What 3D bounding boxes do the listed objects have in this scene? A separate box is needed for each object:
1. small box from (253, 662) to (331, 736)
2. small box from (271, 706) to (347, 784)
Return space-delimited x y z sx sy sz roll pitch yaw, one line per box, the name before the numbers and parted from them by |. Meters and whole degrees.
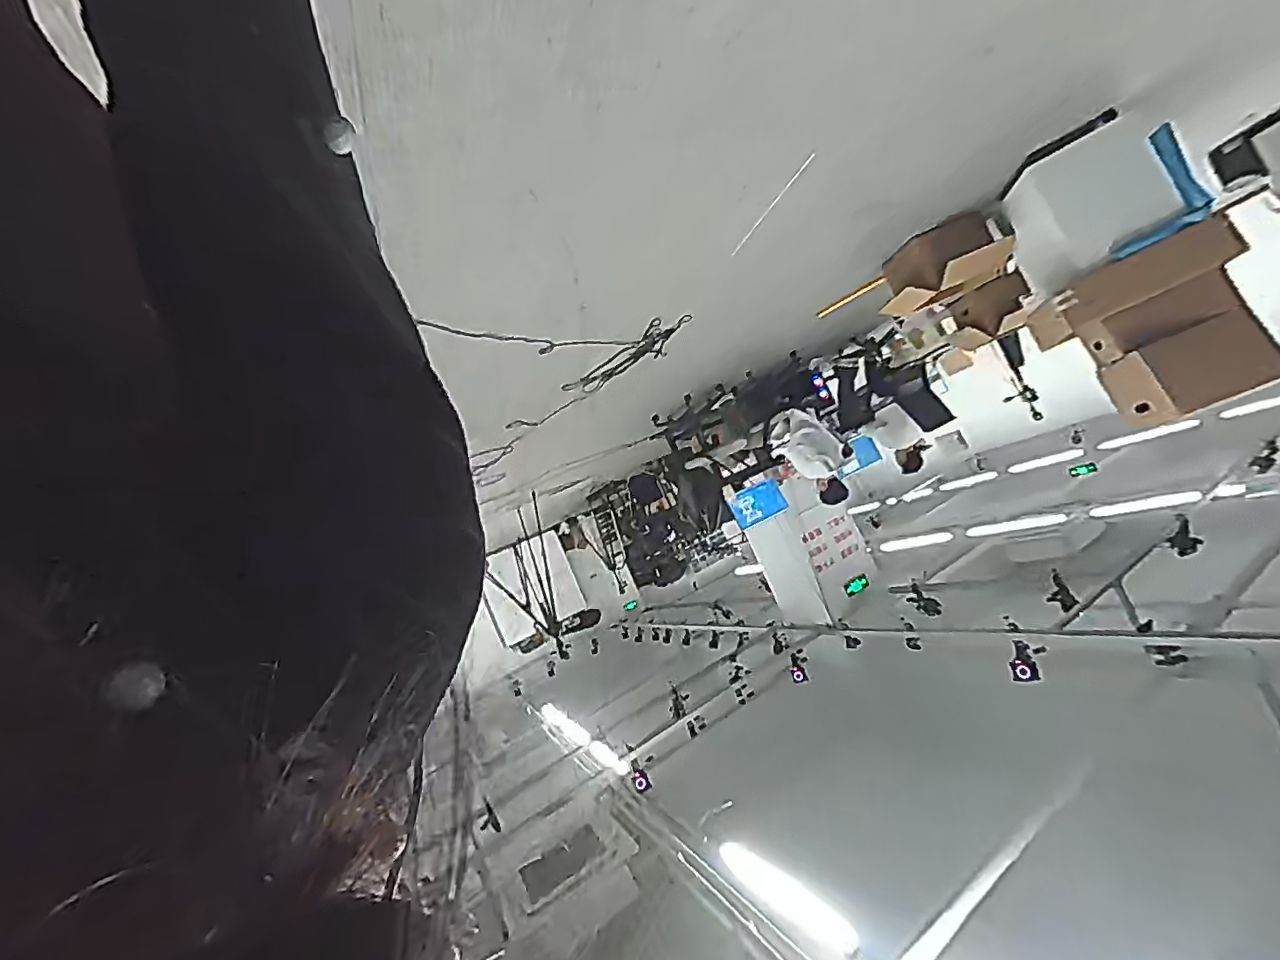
small box | -1.202 0.749 1.872 0.168 0.176 0.179 -23 177 -25
small box | -1.134 0.898 1.861 0.179 0.176 0.168 -21 176 -28
